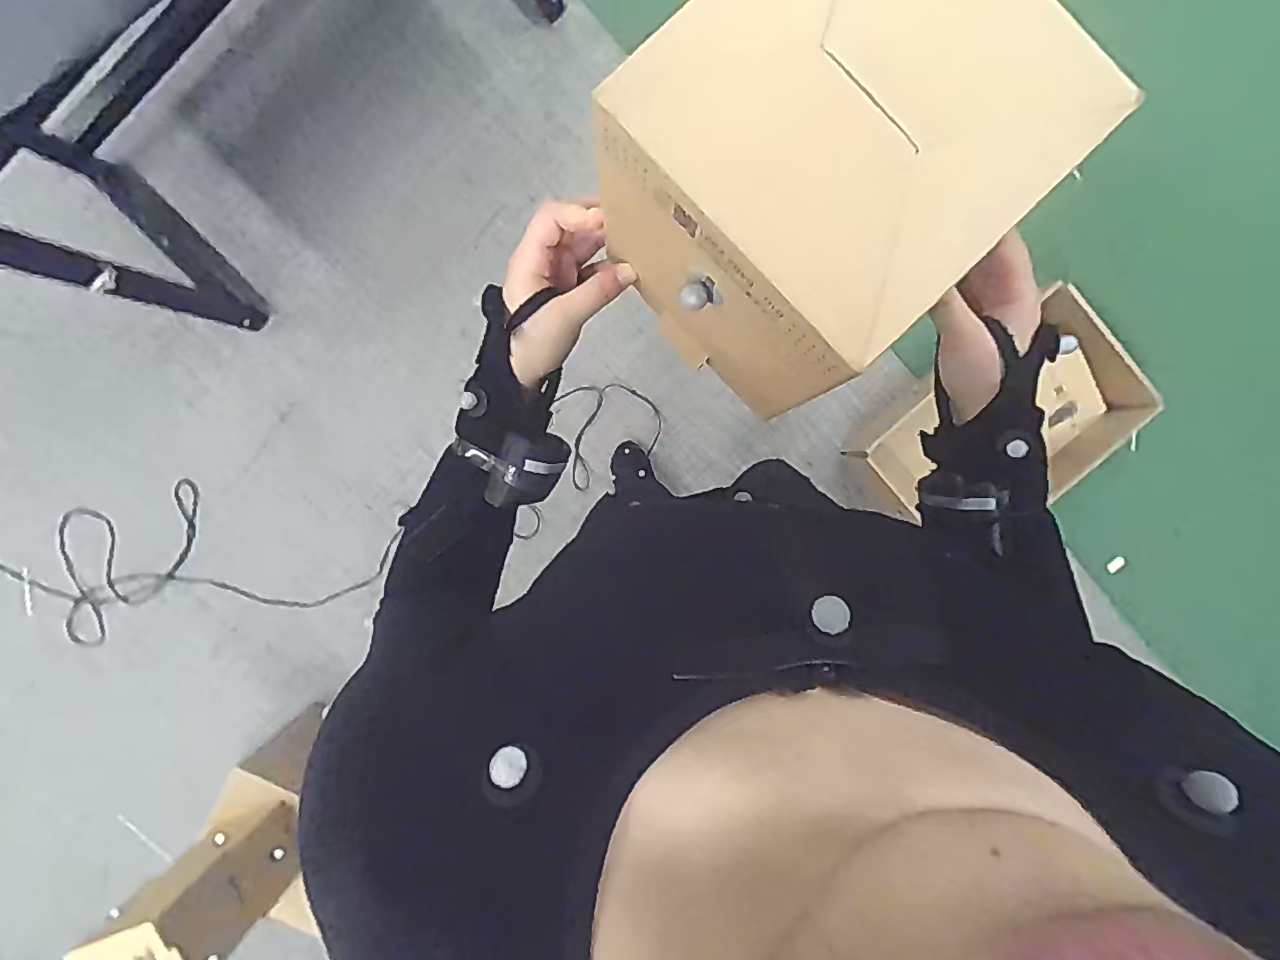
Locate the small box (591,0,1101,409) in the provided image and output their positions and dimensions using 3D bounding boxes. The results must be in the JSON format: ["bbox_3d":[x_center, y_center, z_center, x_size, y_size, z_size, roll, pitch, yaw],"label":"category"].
[{"bbox_3d":[0.091,-0.164,0.308,0.179,0.176,0.168,-45,91,-1],"label":"small box"}]

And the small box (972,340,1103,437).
[{"bbox_3d":[0.966,-0.221,1.327,0.168,0.176,0.179,-27,96,3],"label":"small box"}]

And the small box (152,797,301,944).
[{"bbox_3d":[-0.878,0.834,1.175,0.179,0.176,0.168,-22,94,0],"label":"small box"}]
